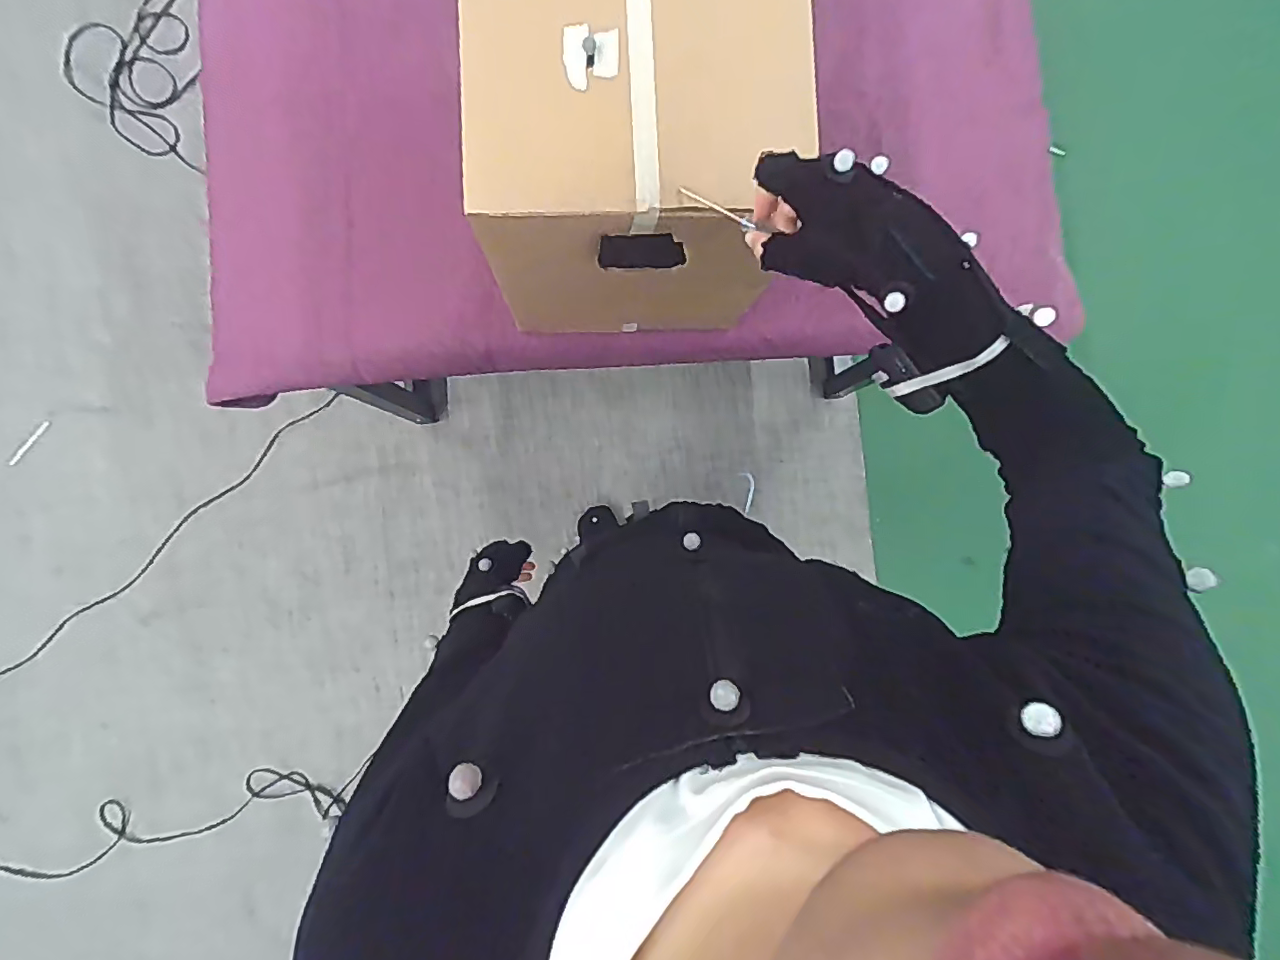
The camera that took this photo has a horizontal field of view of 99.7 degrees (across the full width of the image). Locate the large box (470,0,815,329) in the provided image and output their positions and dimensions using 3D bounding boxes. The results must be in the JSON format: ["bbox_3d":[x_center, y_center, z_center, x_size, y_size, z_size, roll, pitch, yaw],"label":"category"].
[{"bbox_3d":[-0.012,-0.424,0.643,0.320,0.320,0.408,-2,88,-4],"label":"large box"}]
